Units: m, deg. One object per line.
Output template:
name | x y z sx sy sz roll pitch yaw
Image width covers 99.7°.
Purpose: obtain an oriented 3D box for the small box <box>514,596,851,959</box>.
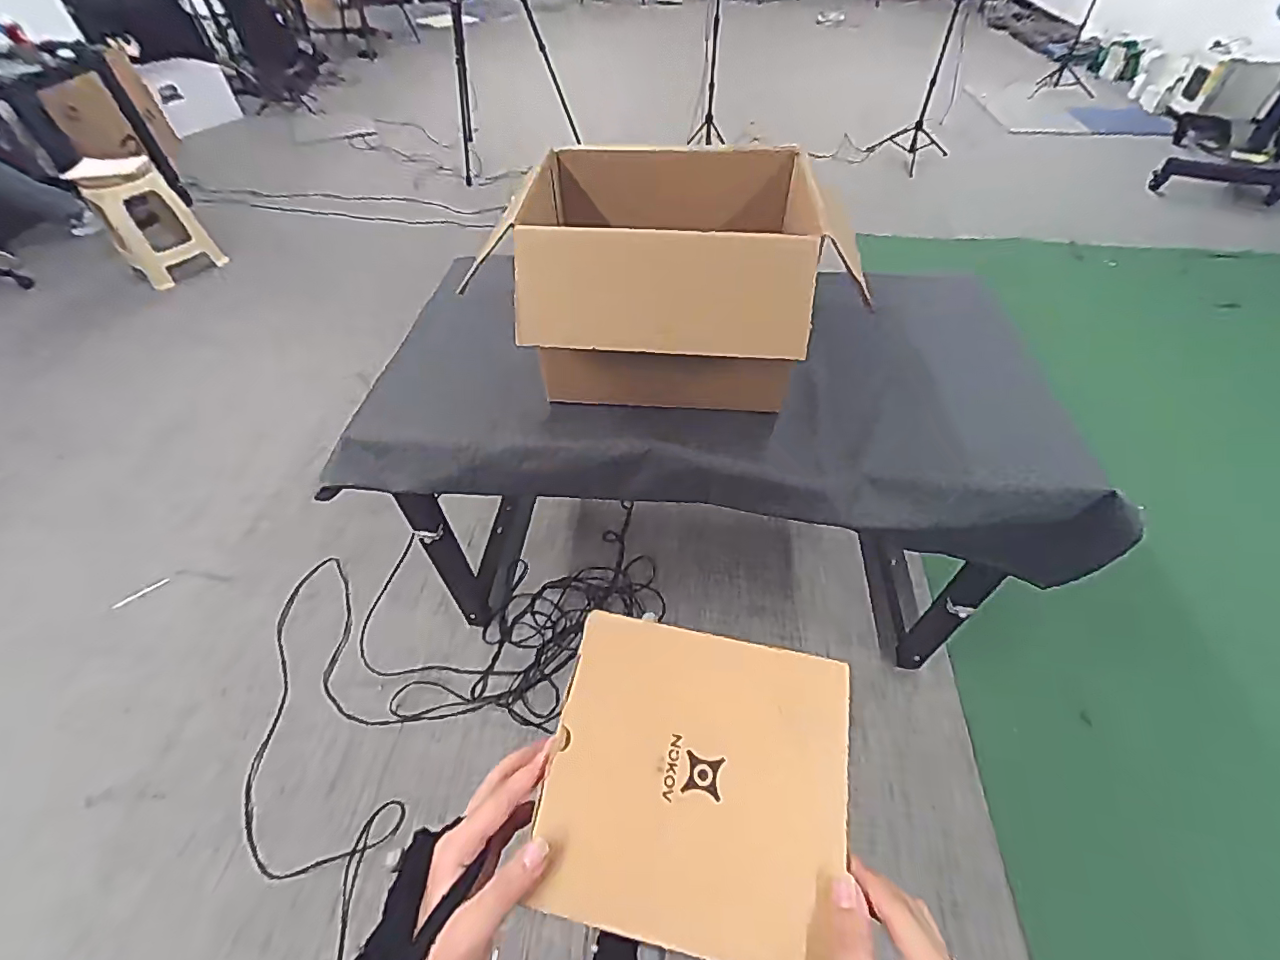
small box | 0.036 0.202 0.386 0.179 0.176 0.168 9 59 8
